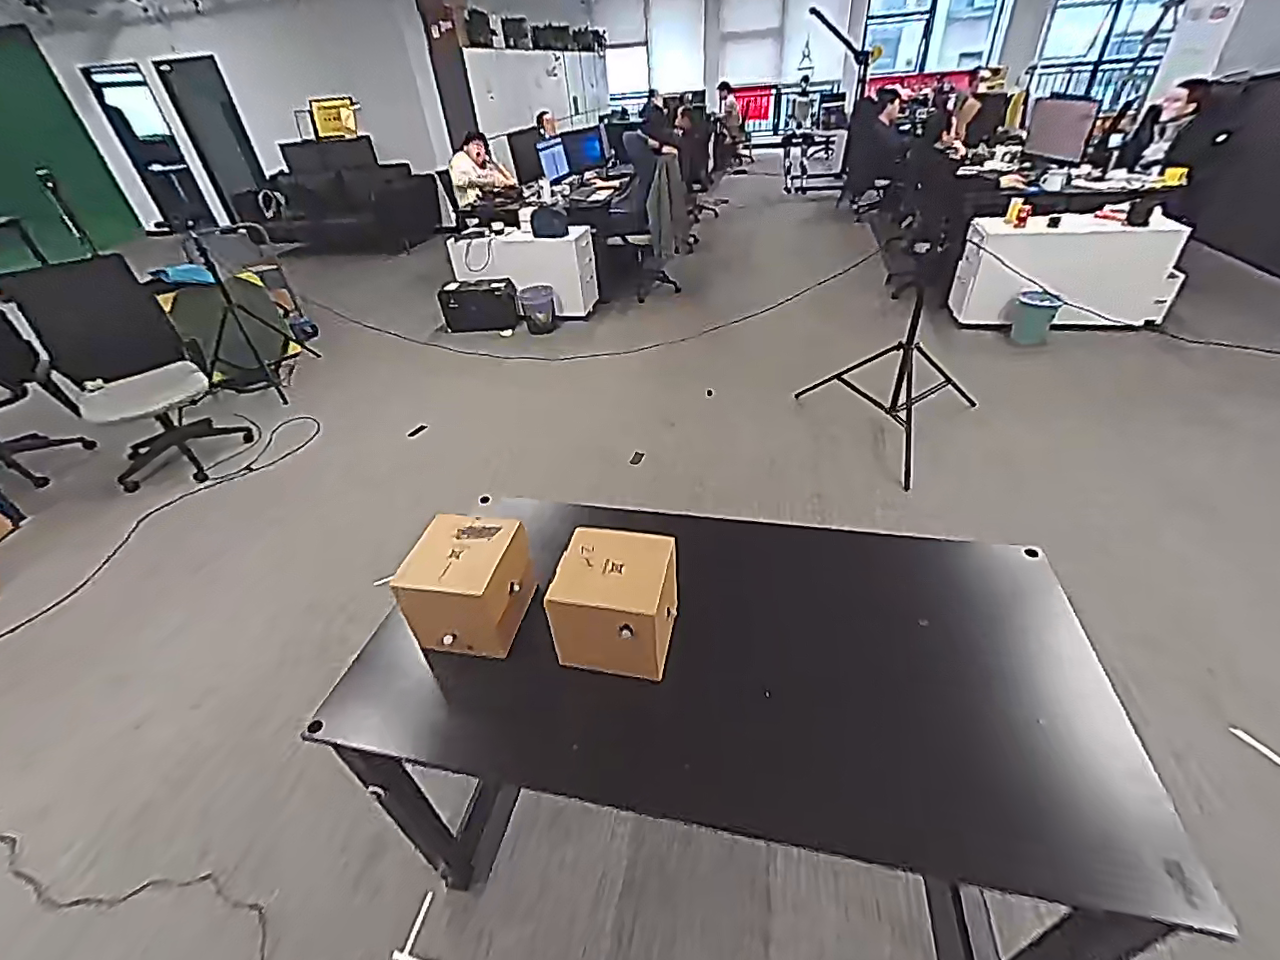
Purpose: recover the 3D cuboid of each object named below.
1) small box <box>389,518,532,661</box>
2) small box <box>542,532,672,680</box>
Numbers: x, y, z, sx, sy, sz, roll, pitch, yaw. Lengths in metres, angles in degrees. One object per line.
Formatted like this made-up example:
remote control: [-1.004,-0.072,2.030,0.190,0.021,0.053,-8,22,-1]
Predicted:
small box: [-0.303,0.192,0.962,0.168,0.176,0.179,3,39,11]
small box: [-0.043,0.211,0.906,0.179,0.176,0.168,4,37,12]
